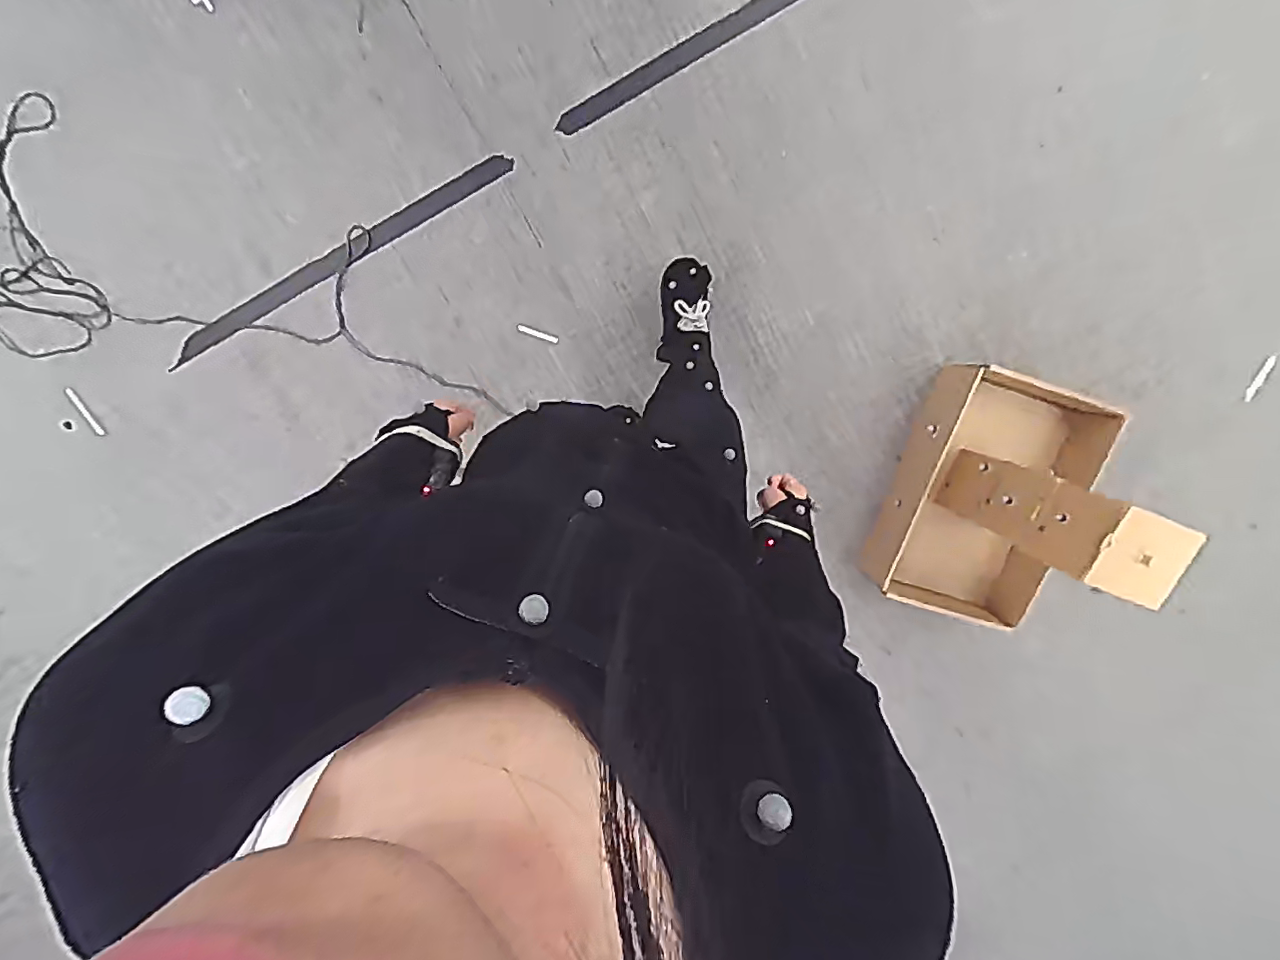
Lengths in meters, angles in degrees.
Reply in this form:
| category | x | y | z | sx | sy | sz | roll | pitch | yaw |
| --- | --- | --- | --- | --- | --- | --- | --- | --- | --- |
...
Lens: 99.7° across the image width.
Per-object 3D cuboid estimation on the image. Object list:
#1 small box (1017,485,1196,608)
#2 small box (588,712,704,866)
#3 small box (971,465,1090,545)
| category | x | y | z | sx | sy | sz | roll | pitch | yaw |
| --- | --- | --- | --- | --- | --- | --- | --- | --- | --- |
| small box | 0.926 | 0.125 | 1.091 | 0.179 | 0.176 | 0.168 | 20 | 103 | -7 |
| small box | 0.010 | 0.608 | 1.080 | 0.168 | 0.176 | 0.179 | 24 | 101 | -8 |
| small box | 0.915 | 0.077 | 1.246 | 0.179 | 0.176 | 0.168 | 21 | 103 | -7 |
